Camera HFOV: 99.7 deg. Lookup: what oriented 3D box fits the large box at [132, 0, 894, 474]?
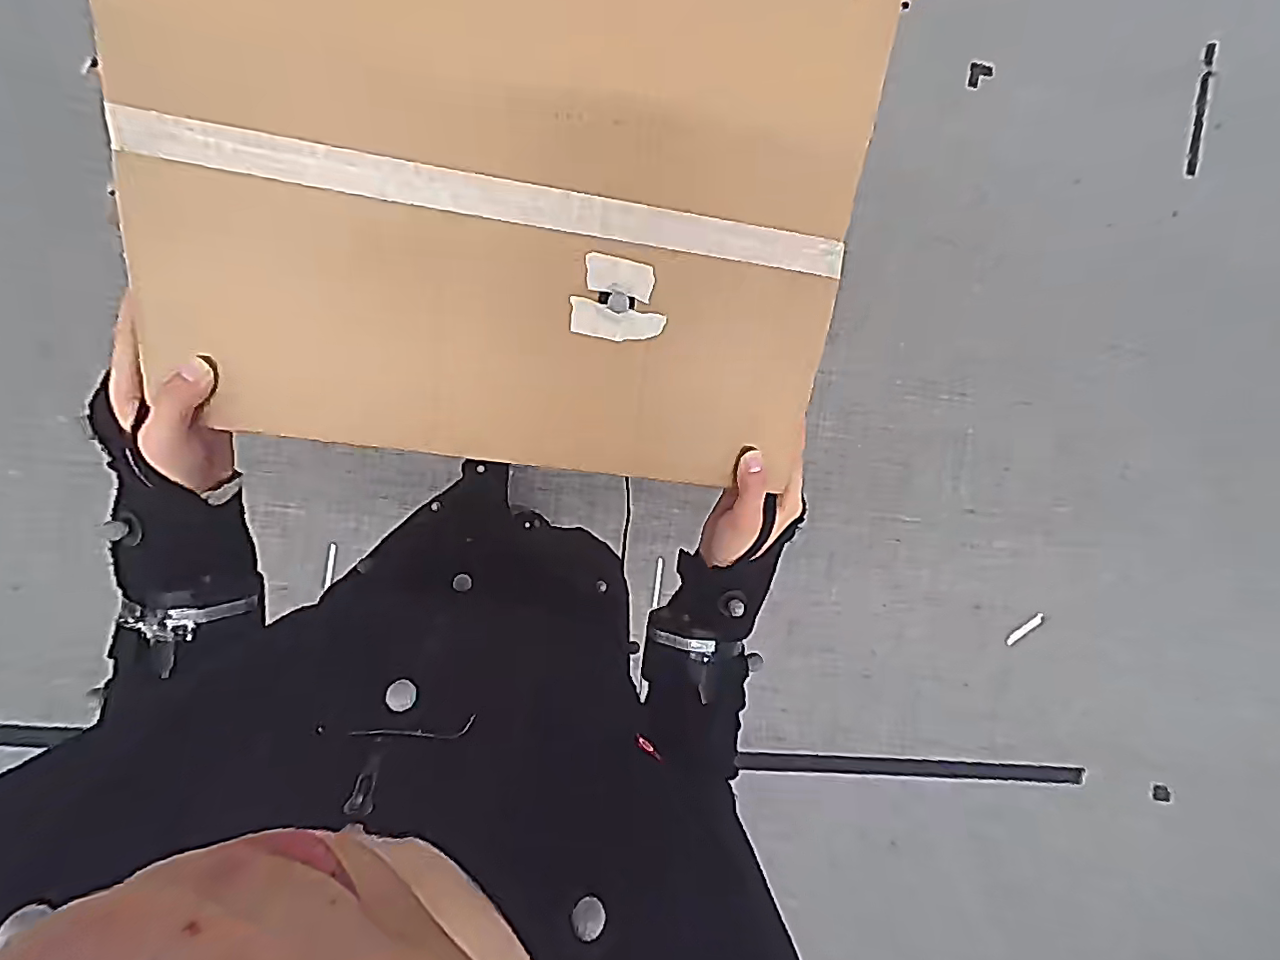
[{"bbox_3d":[-0.088,-0.210,0.457,0.408,0.320,0.320,6,108,-10],"label":"large box"}]
